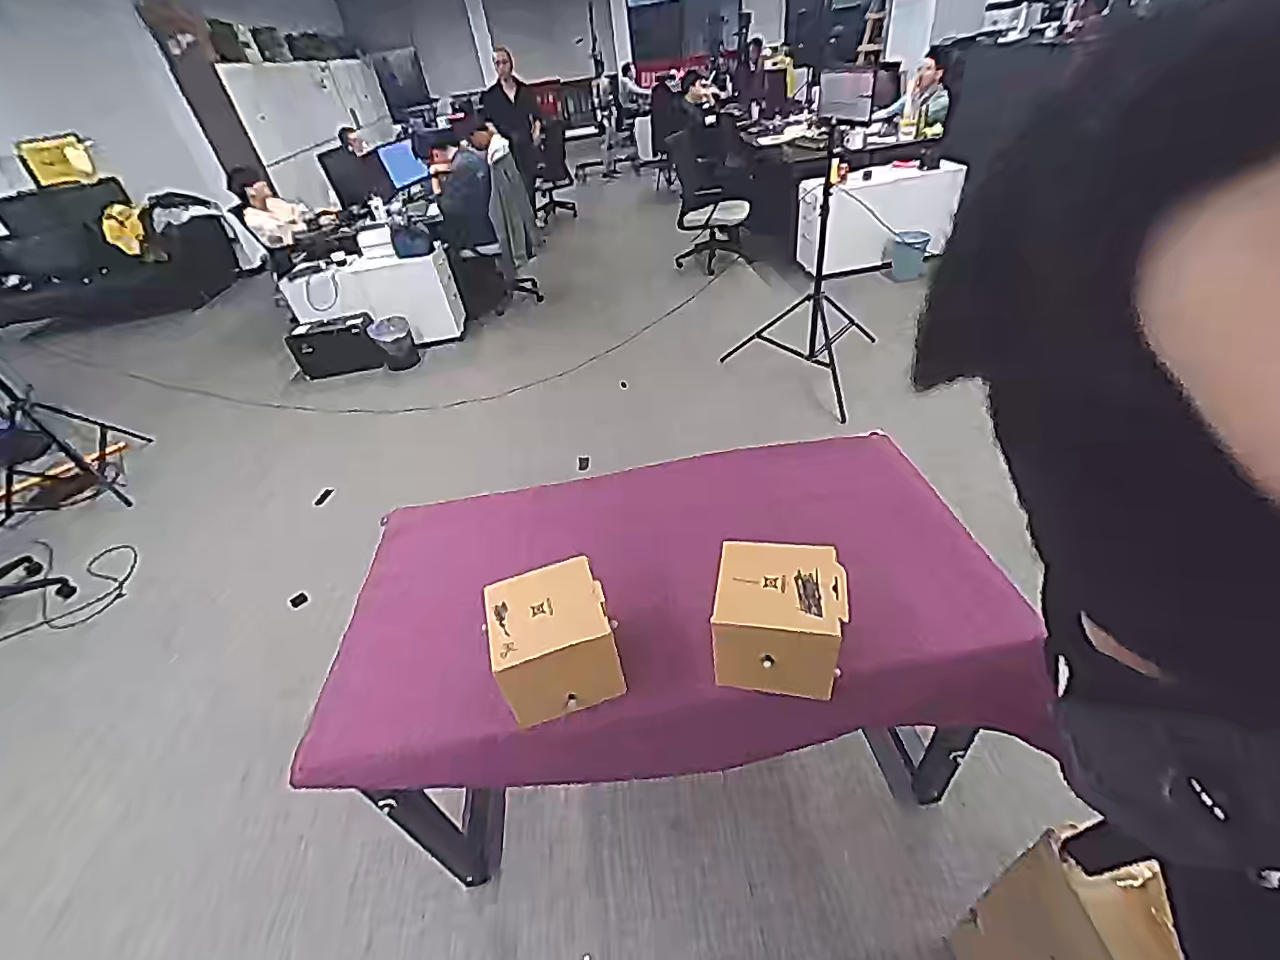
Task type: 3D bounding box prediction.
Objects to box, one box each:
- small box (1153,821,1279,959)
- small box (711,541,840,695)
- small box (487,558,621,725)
[{"bbox_3d":[0.727,0.492,0.581,0.168,0.176,0.179,-13,40,-1],"label":"small box"},{"bbox_3d":[0.213,0.218,0.857,0.179,0.176,0.168,2,39,15],"label":"small box"},{"bbox_3d":[-0.135,0.260,0.876,0.179,0.176,0.168,-16,38,-9],"label":"small box"}]
